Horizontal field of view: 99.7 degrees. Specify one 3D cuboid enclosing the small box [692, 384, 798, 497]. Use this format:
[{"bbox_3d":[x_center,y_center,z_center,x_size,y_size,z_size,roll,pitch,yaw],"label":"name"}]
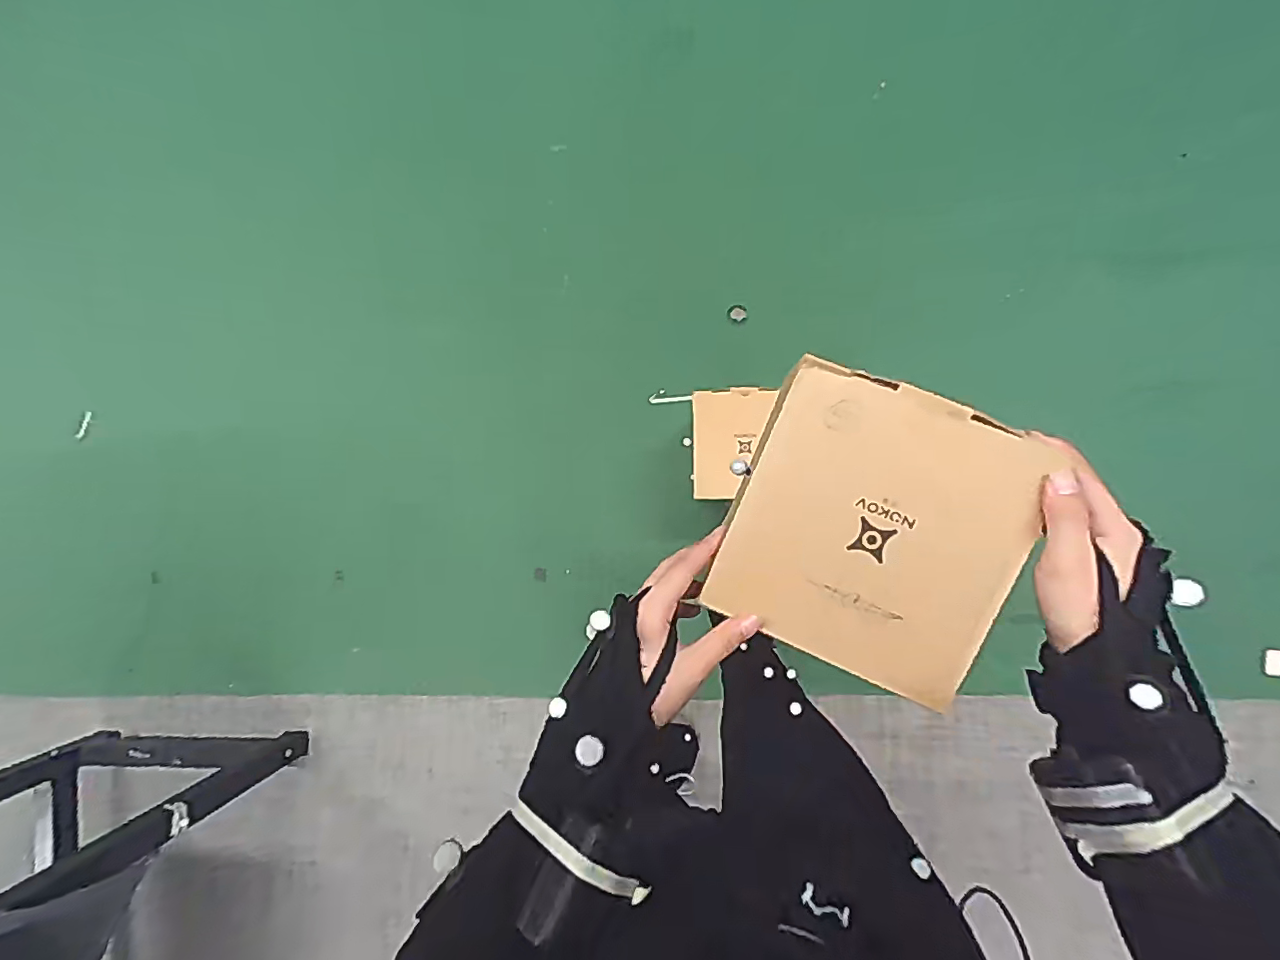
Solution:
[{"bbox_3d":[0.176,-0.061,0.924,0.168,0.176,0.179,-1,89,8],"label":"small box"}]
